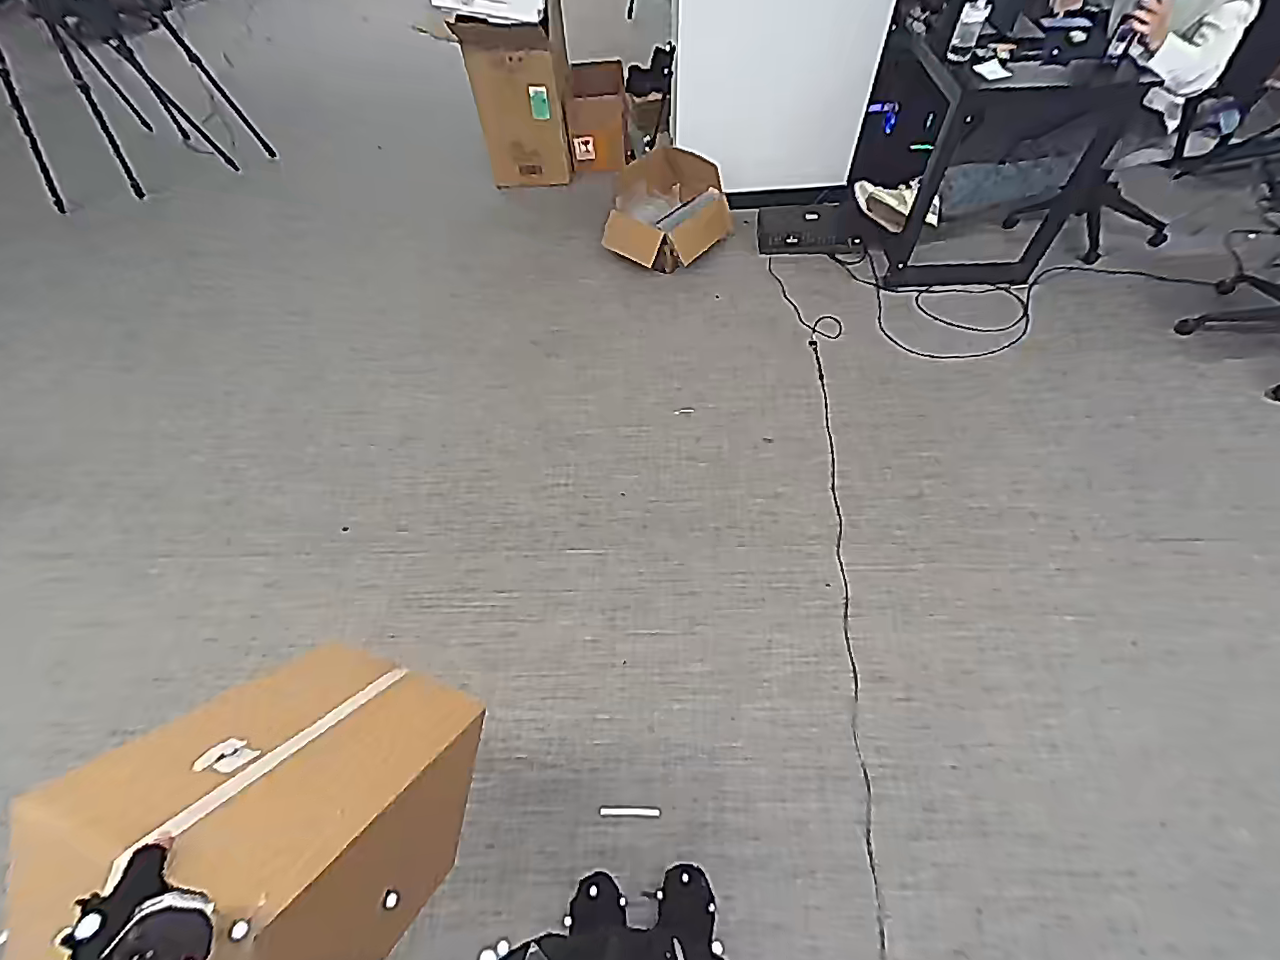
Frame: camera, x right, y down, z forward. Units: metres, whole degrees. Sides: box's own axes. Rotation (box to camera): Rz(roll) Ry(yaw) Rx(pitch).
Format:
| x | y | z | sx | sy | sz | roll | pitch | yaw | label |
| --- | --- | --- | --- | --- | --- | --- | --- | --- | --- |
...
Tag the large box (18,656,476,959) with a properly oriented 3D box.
| x | y | z | sx | sy | sz | roll | pitch | yaw | label |
| --- | --- | --- | --- | --- | --- | --- | --- | --- | --- |
| -0.487 | 0.511 | 0.745 | 0.320 | 0.408 | 0.320 | 15 | 100 | 13 | large box |
